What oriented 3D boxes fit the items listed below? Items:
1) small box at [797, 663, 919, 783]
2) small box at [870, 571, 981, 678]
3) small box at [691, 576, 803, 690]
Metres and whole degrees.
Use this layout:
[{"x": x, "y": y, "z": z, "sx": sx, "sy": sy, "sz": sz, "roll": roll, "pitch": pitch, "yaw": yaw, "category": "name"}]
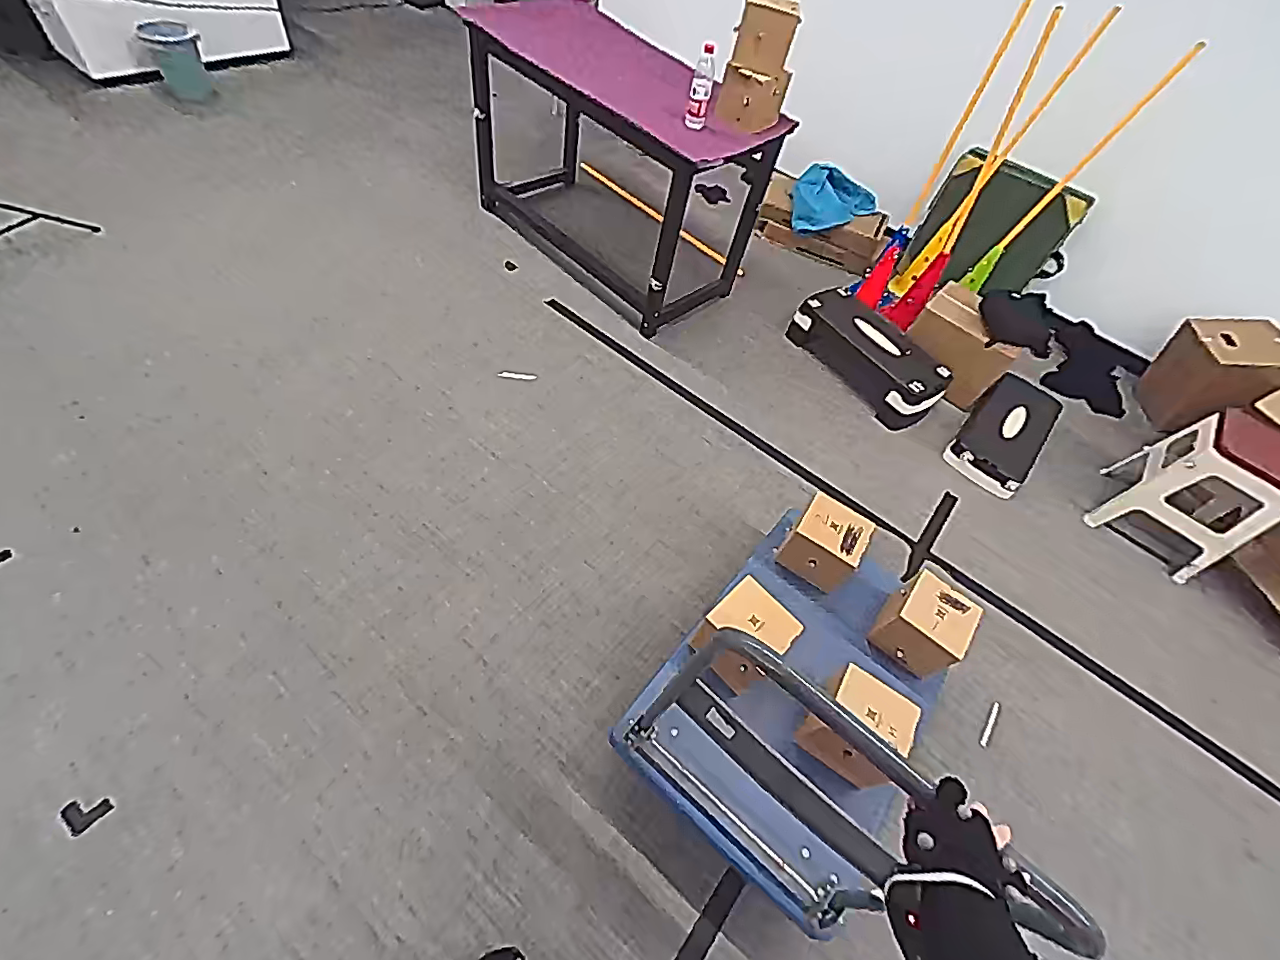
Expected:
[{"x": 0.481, "y": 0.552, "z": 1.214, "sx": 0.179, "sy": 0.176, "sz": 0.168, "roll": 34, "pitch": 55, "yaw": 13, "category": "small box"}, {"x": 0.727, "y": 0.374, "z": 1.393, "sx": 0.168, "sy": 0.176, "sz": 0.179, "roll": 38, "pitch": 57, "yaw": 16, "category": "small box"}, {"x": 0.248, "y": 0.370, "z": 1.296, "sx": 0.168, "sy": 0.176, "sz": 0.179, "roll": -35, "pitch": 70, "yaw": -31, "category": "small box"}]
